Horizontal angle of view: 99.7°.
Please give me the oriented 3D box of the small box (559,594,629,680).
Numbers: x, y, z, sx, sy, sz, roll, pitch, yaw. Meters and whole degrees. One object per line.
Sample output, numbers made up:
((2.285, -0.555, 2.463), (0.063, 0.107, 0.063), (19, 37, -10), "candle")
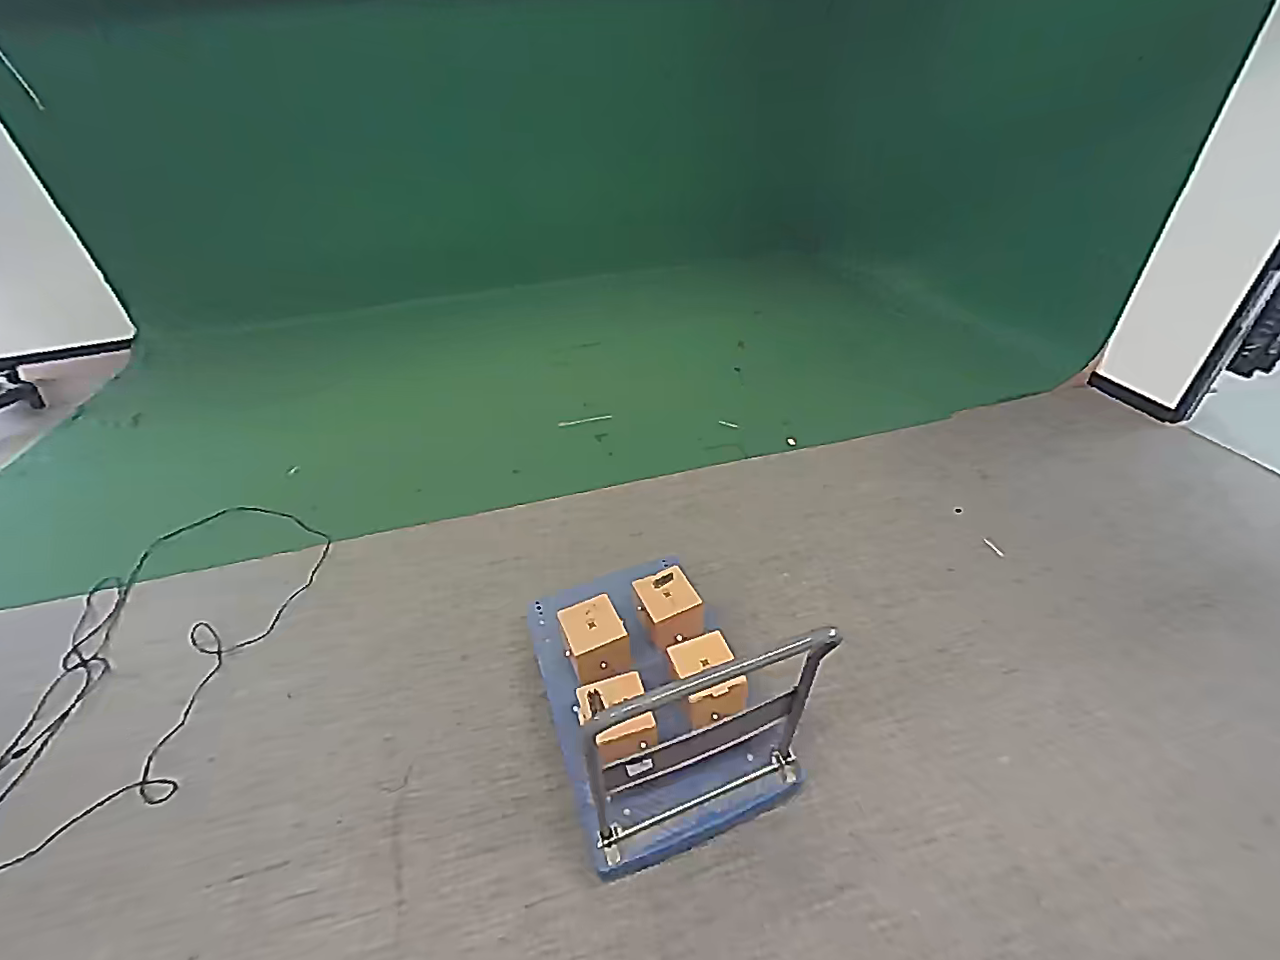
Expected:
((-0.139, 0.492, 1.674), (0.168, 0.176, 0.179), (-17, 40, -17), "small box")

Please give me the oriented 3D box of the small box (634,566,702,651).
((0.089, 0.415, 1.748), (0.168, 0.176, 0.179), (-19, 42, -16), "small box")

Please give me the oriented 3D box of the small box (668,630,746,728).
((0.185, 0.570, 1.548), (0.168, 0.176, 0.179), (-15, 40, -14), "small box")
